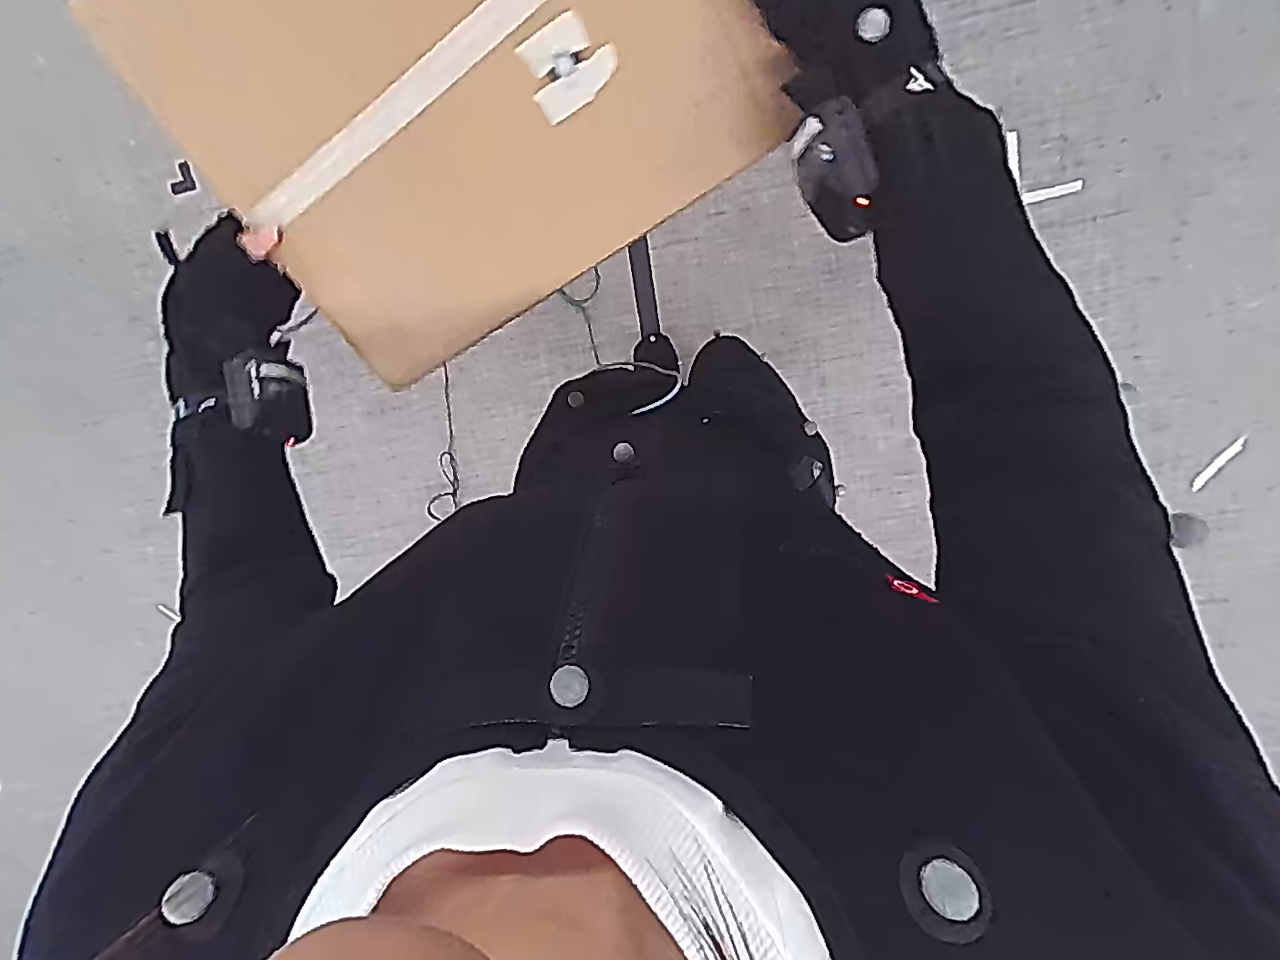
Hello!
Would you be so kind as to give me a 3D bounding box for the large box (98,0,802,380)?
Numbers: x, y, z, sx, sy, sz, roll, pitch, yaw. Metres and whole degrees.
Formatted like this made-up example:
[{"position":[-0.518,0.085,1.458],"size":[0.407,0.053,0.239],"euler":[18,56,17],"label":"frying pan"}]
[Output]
[{"position":[-0.127,-0.364,0.503],"size":[0.408,0.320,0.320],"euler":[-29,115,17],"label":"large box"}]
